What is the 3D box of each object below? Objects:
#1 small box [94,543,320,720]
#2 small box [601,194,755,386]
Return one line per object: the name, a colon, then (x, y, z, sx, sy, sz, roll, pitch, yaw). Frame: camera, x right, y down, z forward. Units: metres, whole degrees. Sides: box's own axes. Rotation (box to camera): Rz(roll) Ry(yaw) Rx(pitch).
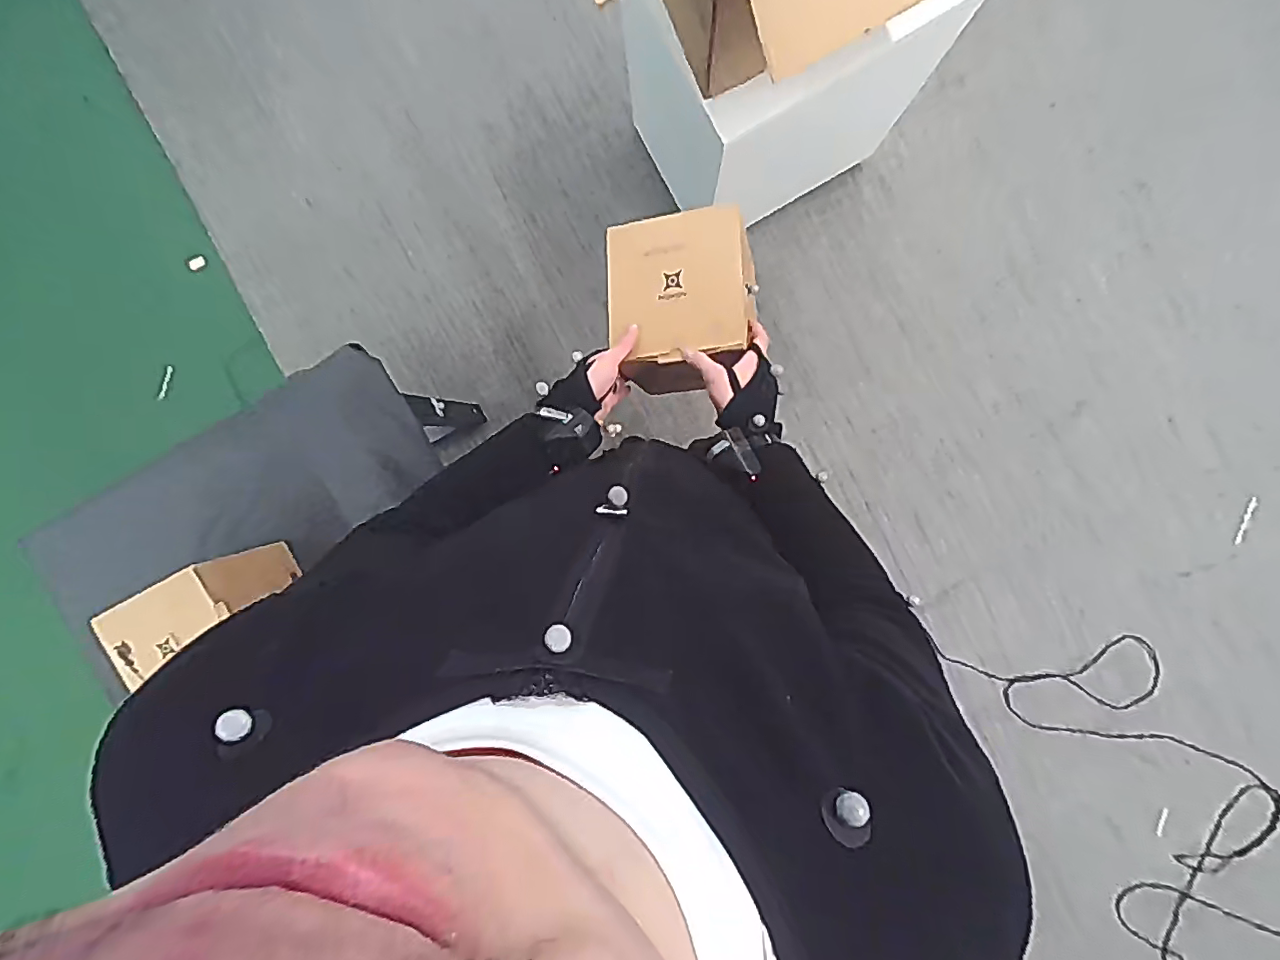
small box: (-0.618, 0.211, 0.804, 0.179, 0.176, 0.168, -27, 93, 4)
small box: (0.056, -0.229, 0.705, 0.168, 0.176, 0.179, -4, 83, 17)
